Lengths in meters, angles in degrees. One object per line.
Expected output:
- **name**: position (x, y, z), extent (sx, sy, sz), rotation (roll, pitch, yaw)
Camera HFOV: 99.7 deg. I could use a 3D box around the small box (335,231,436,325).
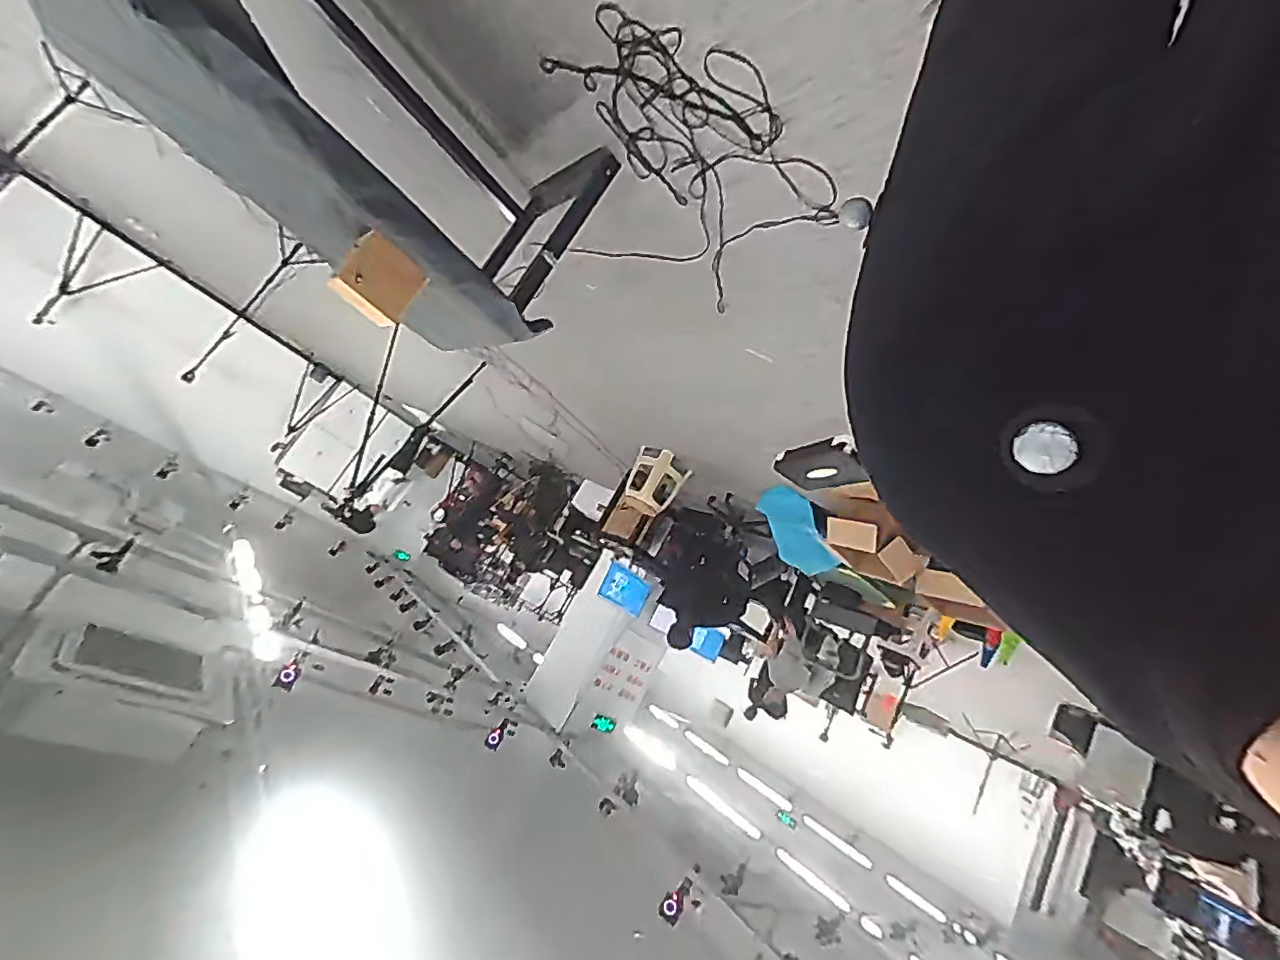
- **small box**: position (-0.700, -0.553, 1.497), extent (0.168, 0.176, 0.179), rotation (16, 160, 49)
